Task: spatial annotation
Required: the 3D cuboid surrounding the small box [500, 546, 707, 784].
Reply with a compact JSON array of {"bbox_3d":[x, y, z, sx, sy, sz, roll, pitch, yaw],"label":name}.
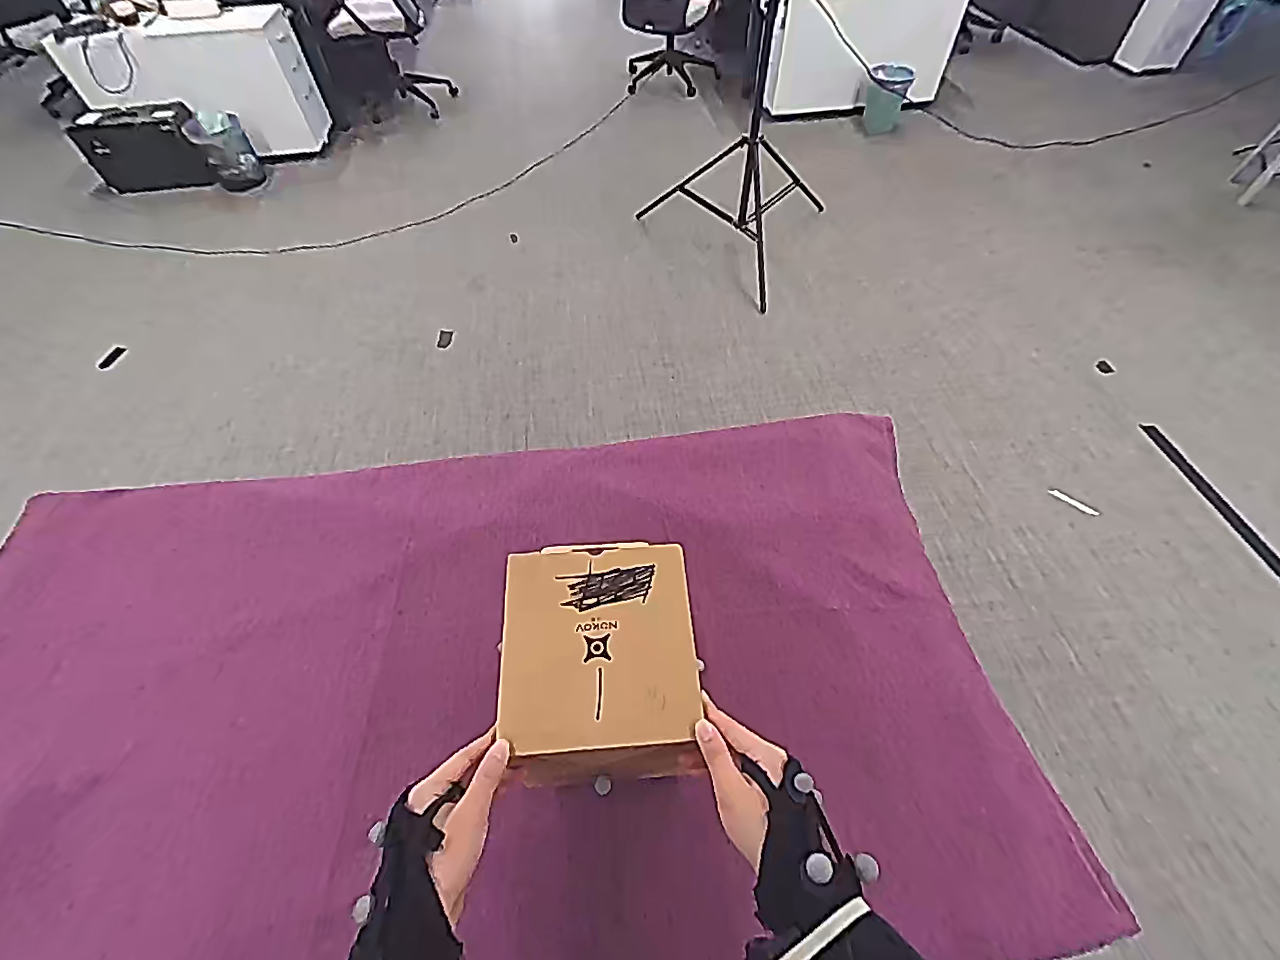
[{"bbox_3d":[-0.034,0.184,0.533,0.168,0.176,0.179,-3,54,-2],"label":"small box"}]
